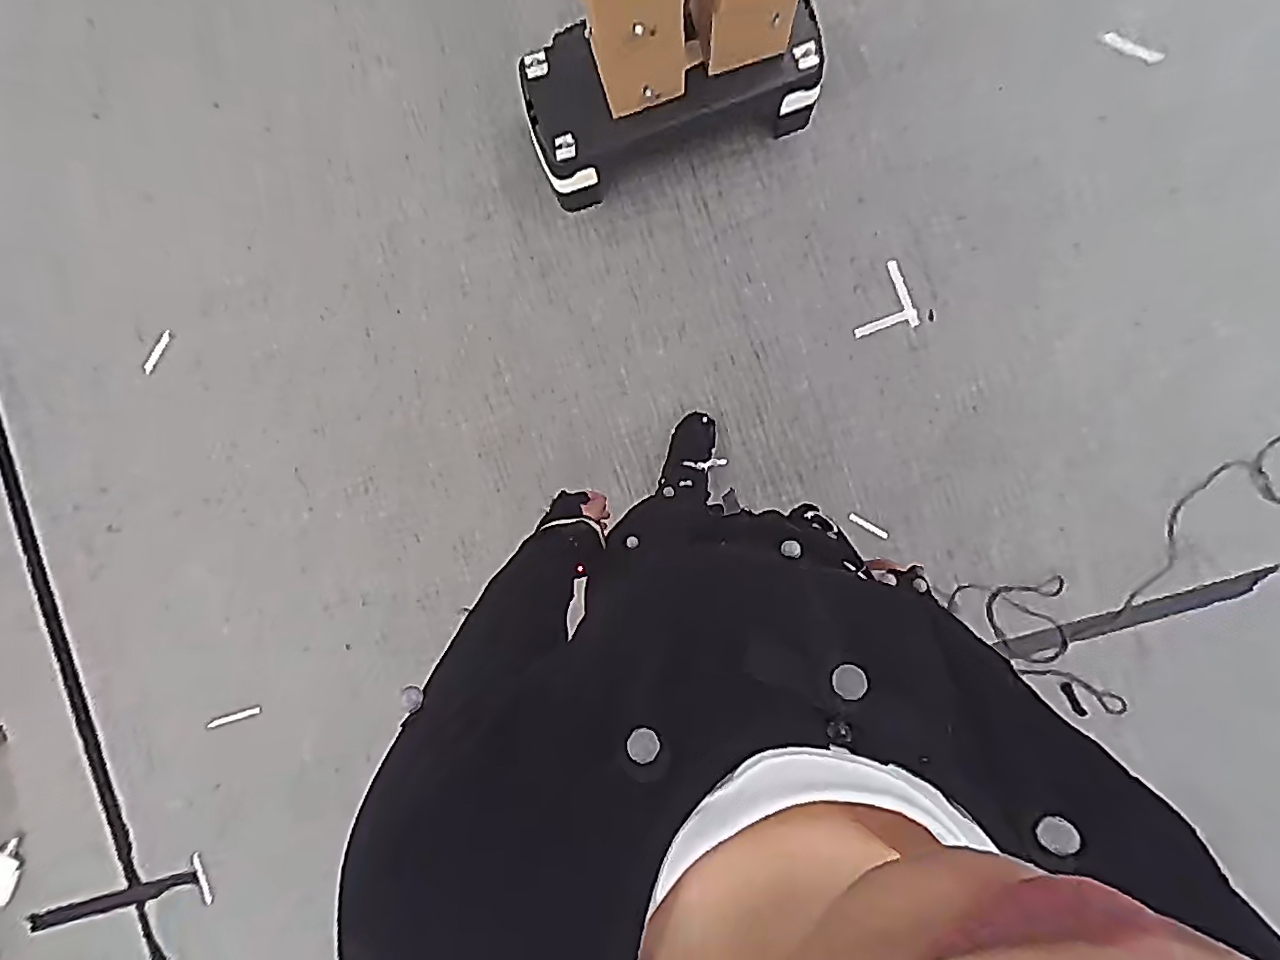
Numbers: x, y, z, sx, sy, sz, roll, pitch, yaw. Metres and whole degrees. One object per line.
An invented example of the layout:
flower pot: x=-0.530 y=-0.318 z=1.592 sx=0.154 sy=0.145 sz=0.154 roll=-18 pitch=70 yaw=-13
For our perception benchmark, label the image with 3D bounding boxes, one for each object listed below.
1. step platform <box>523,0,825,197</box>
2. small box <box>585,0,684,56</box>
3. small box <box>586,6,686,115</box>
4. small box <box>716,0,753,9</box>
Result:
step platform: x=0.076 y=-0.951 z=1.282 sx=0.684 sy=0.204 sz=0.286 roll=-19 pitch=88 yaw=4
small box: x=-0.024 y=-0.911 z=0.950 sx=0.168 sy=0.176 sz=0.179 roll=-17 pitch=89 yaw=4
small box: x=-0.009 y=-0.908 z=1.114 sx=0.168 sy=0.176 sz=0.179 roll=-17 pitch=89 yaw=4
small box: x=0.204 y=-0.978 z=0.937 sx=0.179 sy=0.176 sz=0.168 roll=-16 pitch=89 yaw=3
